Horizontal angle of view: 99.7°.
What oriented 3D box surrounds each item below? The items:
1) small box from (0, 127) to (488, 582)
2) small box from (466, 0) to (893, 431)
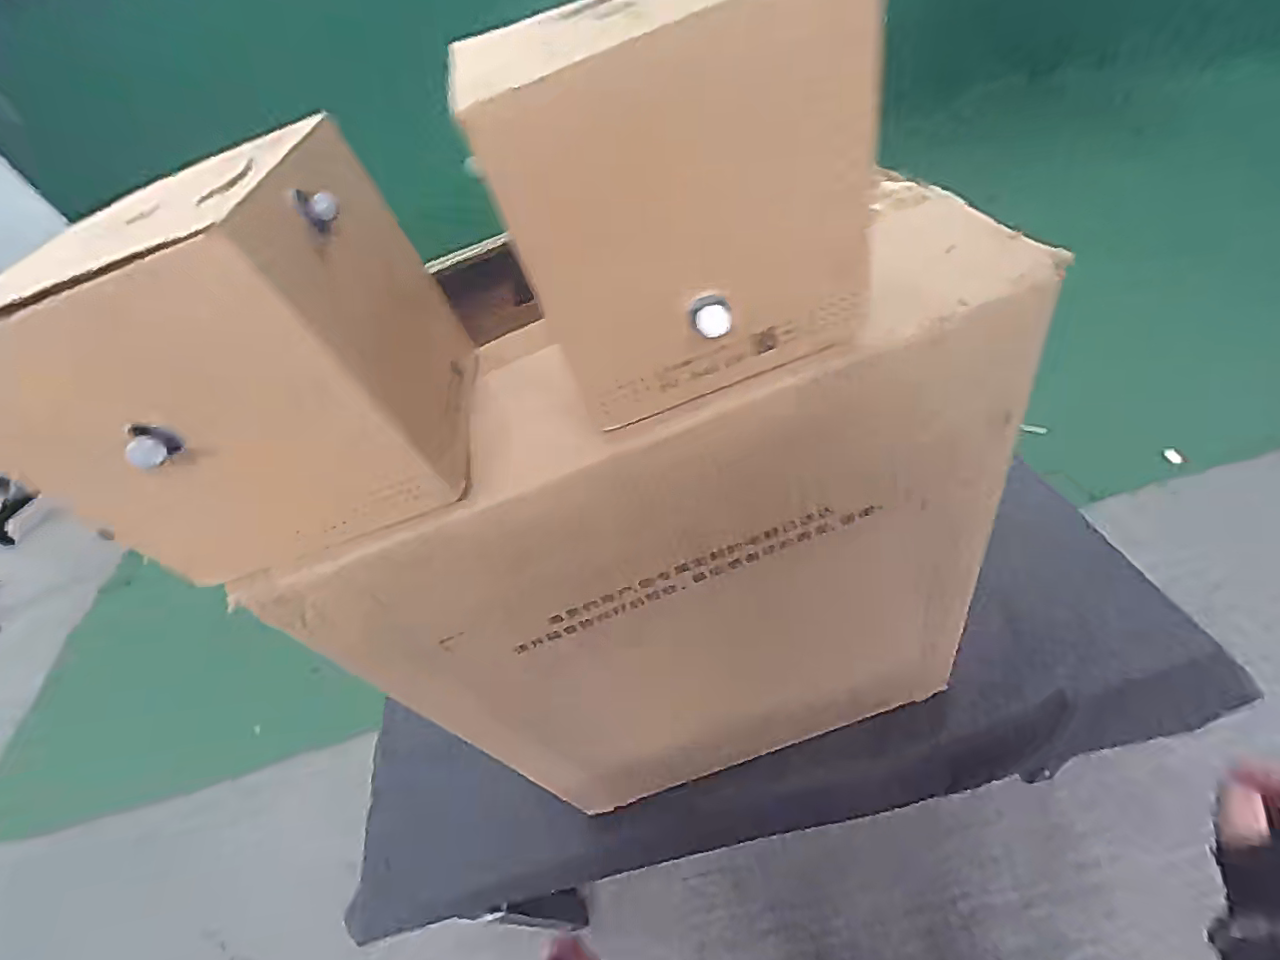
[{"bbox_3d":[-0.213,-0.064,0.318,0.179,0.176,0.168,-19,46,7],"label":"small box"},{"bbox_3d":[0.017,-0.159,0.310,0.168,0.176,0.179,-21,46,2],"label":"small box"}]
